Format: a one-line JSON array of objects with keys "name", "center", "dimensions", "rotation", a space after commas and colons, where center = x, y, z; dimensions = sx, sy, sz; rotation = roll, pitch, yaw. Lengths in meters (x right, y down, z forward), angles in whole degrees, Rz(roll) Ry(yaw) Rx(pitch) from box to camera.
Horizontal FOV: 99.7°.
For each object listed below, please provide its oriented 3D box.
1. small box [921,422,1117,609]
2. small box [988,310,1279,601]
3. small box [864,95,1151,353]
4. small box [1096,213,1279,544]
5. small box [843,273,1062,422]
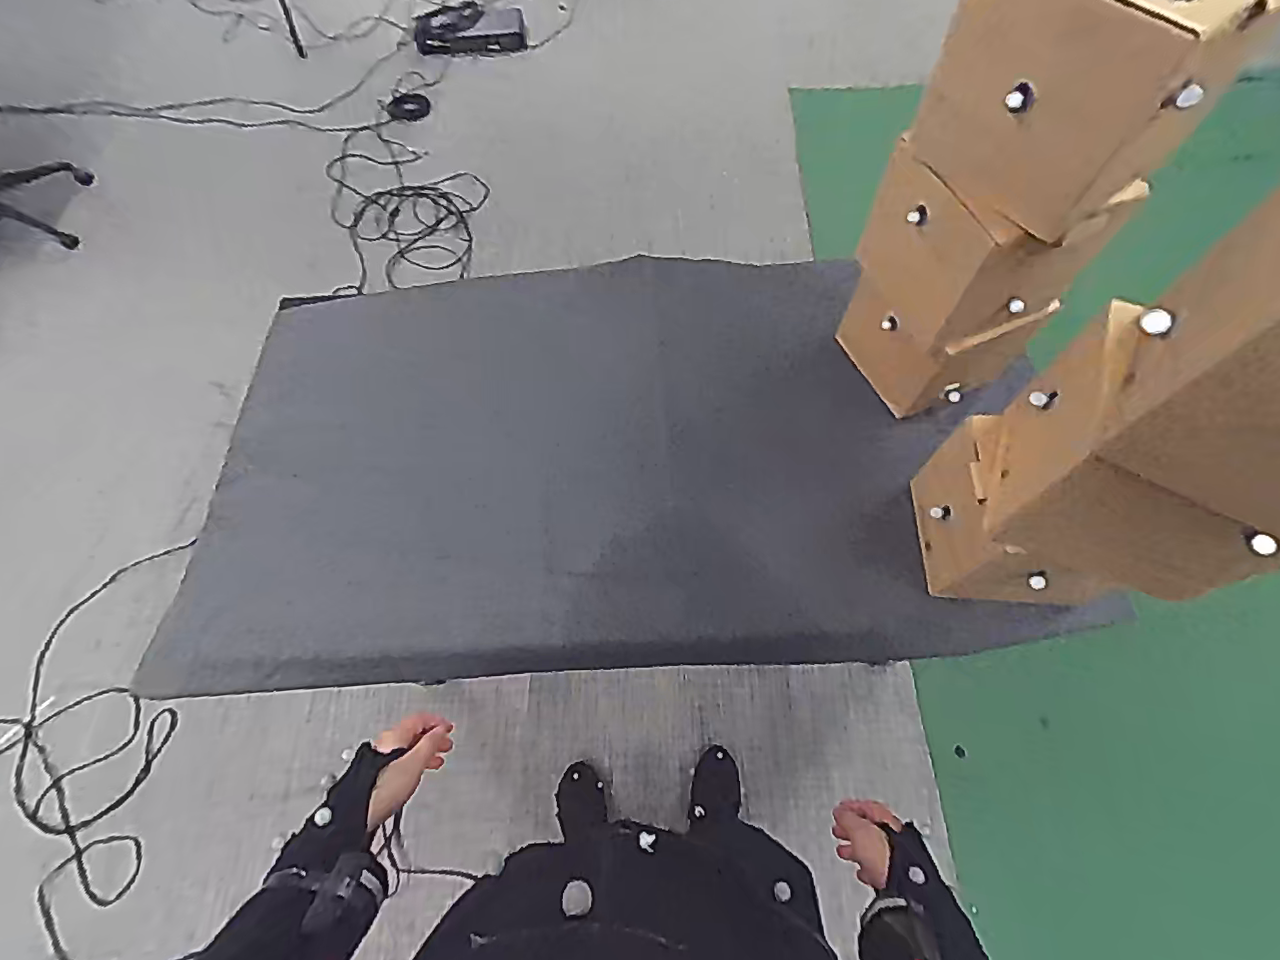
[{"name": "small box", "center": [0.452, 0.048, 0.632], "dimensions": [0.179, 0.176, 0.168], "rotation": [2, 63, 5]}, {"name": "small box", "center": [0.448, -0.013, 0.479], "dimensions": [0.179, 0.176, 0.168], "rotation": [22, 65, 13]}, {"name": "small box", "center": [0.383, -0.278, 0.608], "dimensions": [0.168, 0.176, 0.179], "rotation": [-21, 66, -3]}, {"name": "small box", "center": [0.439, -0.067, 0.322], "dimensions": [0.179, 0.176, 0.168], "rotation": [31, 68, 18]}, {"name": "small box", "center": [0.415, -0.212, 0.758], "dimensions": [0.168, 0.176, 0.179], "rotation": [-24, 68, -5]}]
